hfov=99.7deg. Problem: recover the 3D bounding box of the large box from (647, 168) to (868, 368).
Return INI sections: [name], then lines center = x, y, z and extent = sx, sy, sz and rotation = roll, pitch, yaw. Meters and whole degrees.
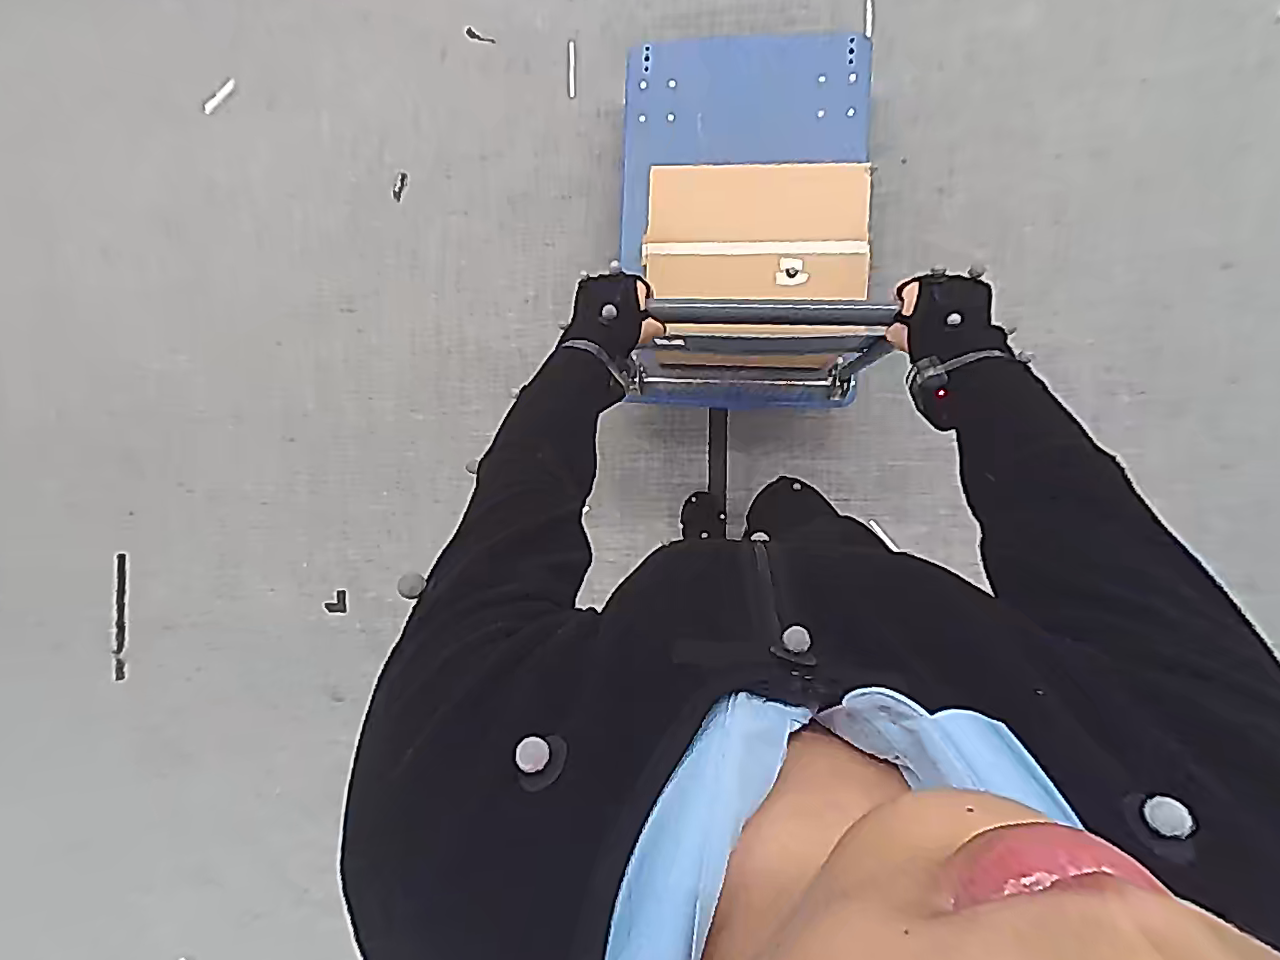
[large box]
center = 0.224, -0.422, 1.150
extent = 0.408, 0.320, 0.320
rotation = 2, 91, 5
